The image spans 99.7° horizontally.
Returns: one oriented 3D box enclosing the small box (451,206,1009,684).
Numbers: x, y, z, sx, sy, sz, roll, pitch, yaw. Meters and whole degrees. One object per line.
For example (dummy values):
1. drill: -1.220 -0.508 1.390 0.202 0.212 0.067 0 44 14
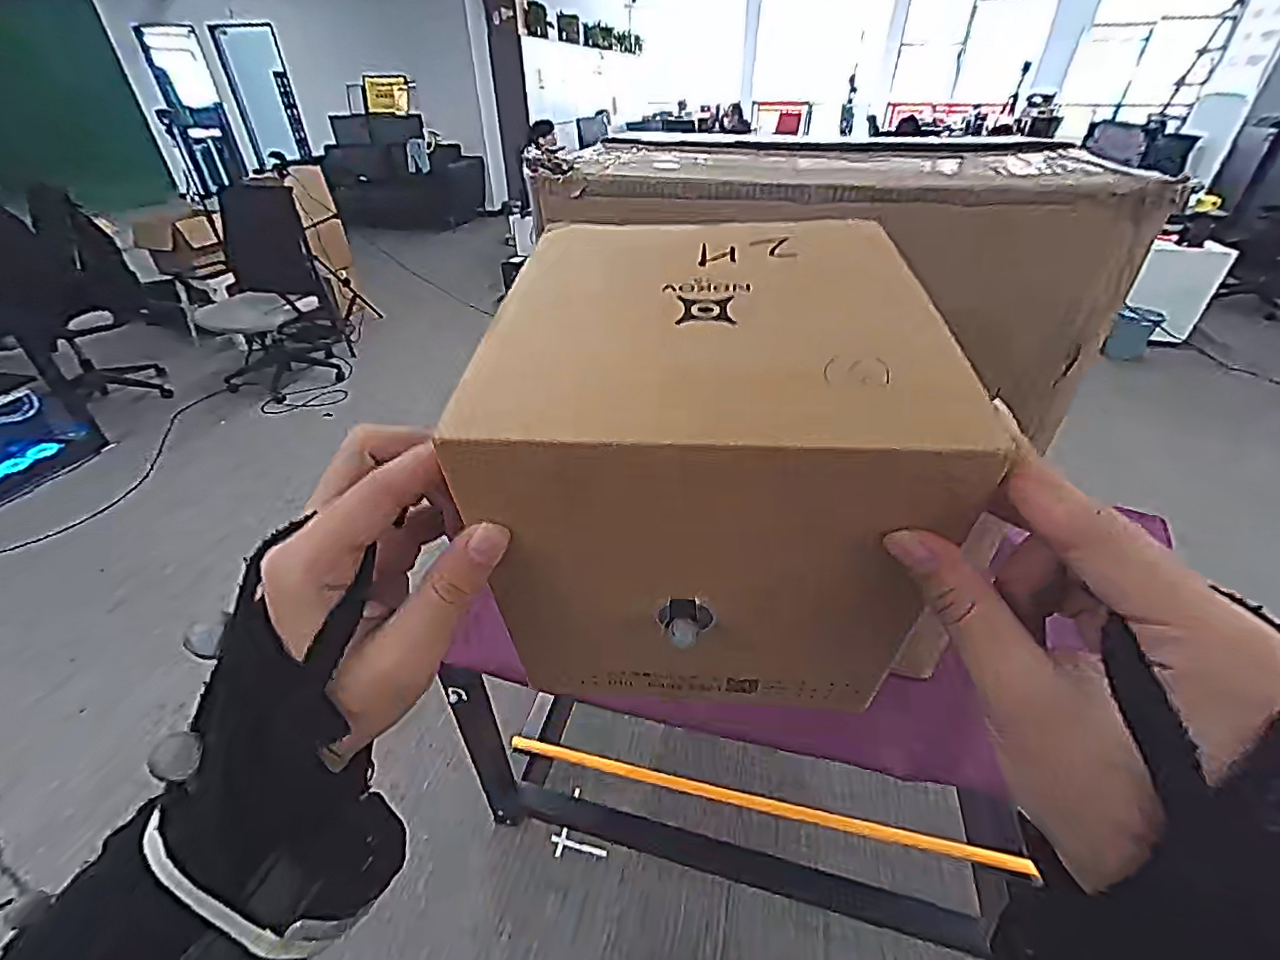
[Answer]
1. small box: 0.034 -0.017 0.270 0.168 0.176 0.179 2 44 5
